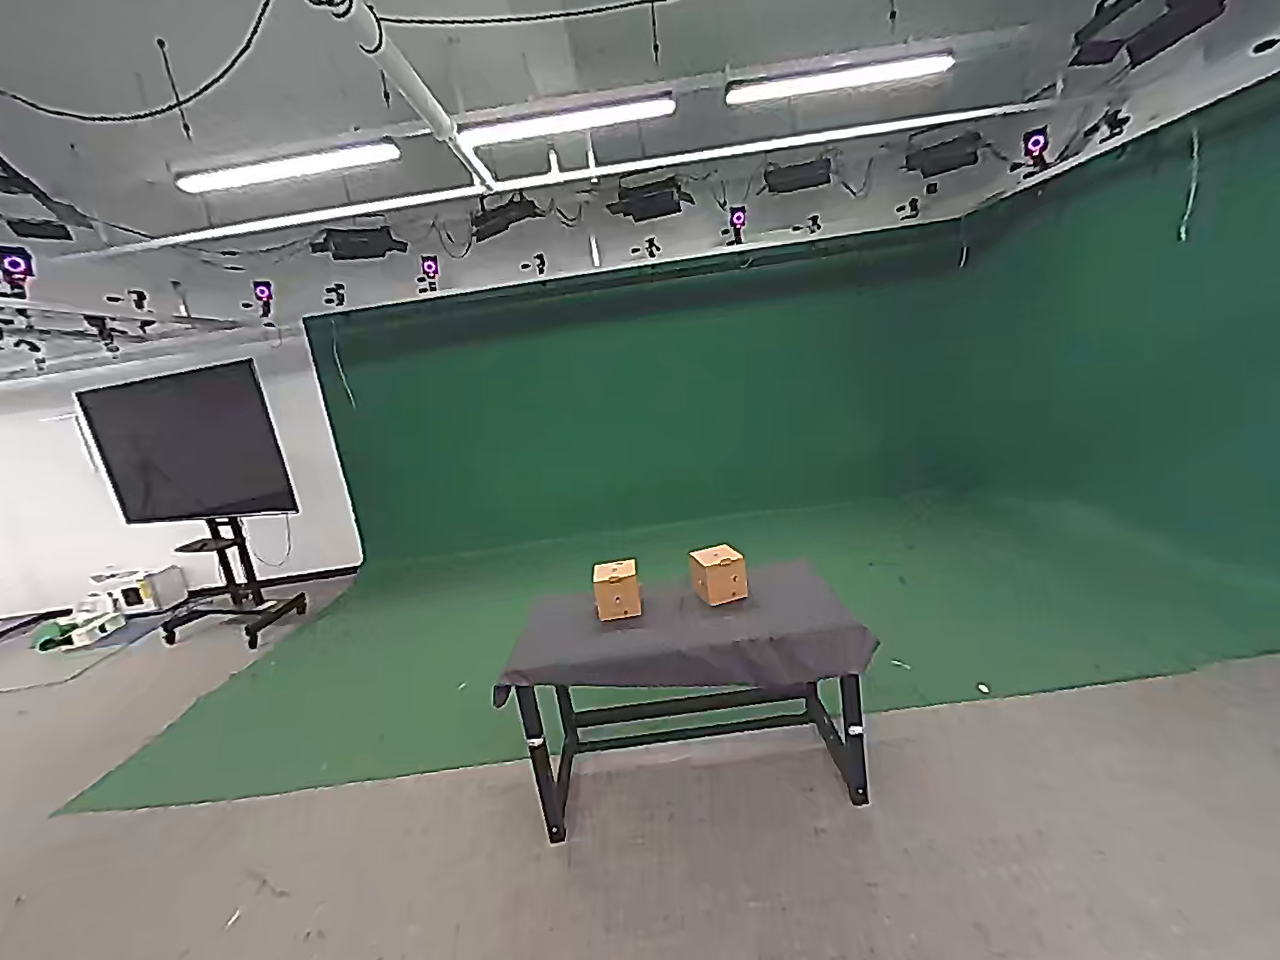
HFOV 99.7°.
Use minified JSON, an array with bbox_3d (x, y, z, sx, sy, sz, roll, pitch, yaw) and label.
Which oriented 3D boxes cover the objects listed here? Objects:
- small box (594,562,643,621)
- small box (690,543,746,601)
[{"bbox_3d":[-0.087,0.447,2.149,0.168,0.176,0.179,-10,12,-3],"label":"small box"},{"bbox_3d":[0.310,0.368,2.145,0.168,0.176,0.179,-9,12,-12],"label":"small box"}]
